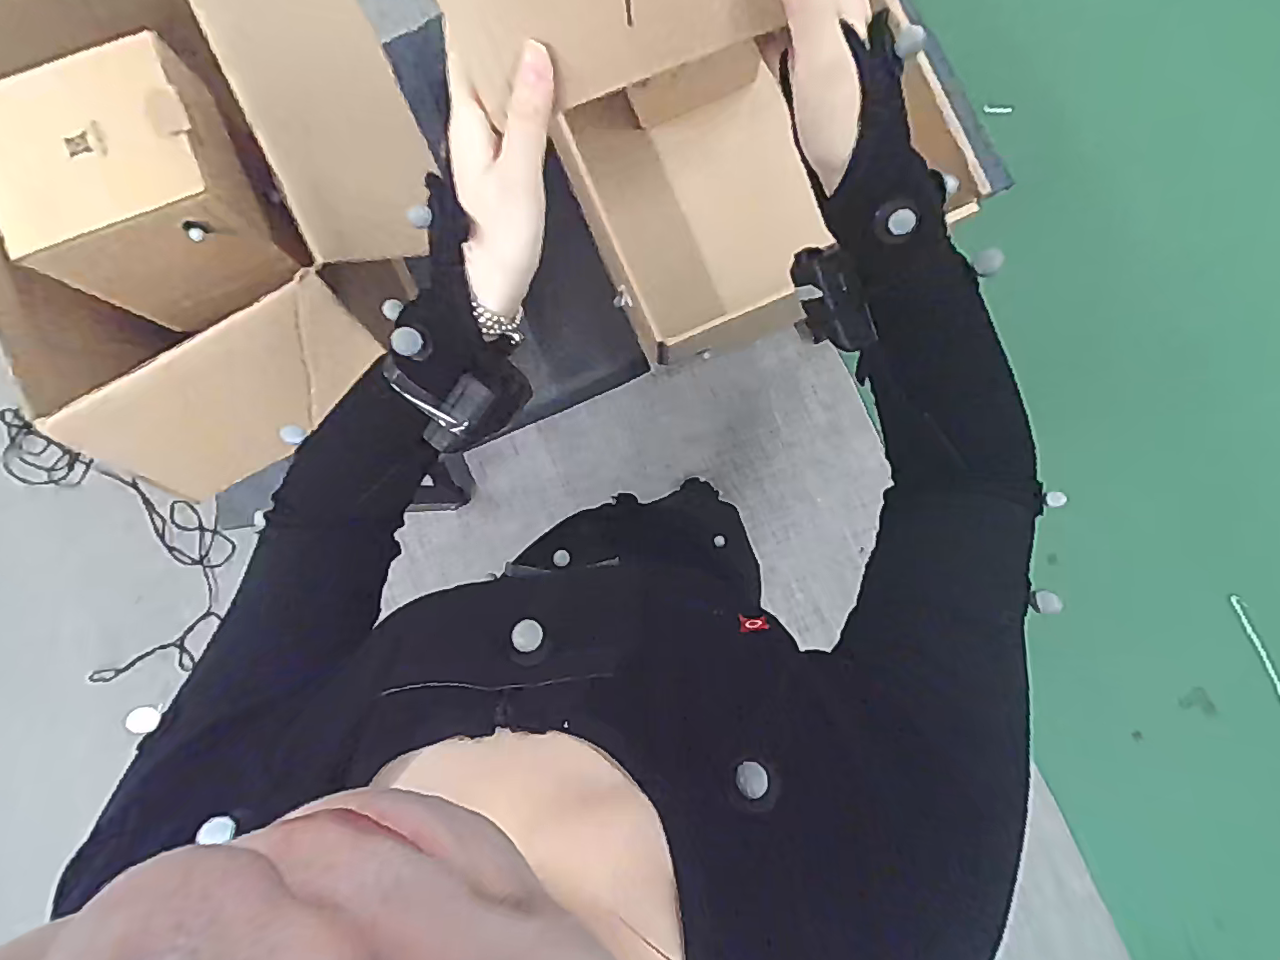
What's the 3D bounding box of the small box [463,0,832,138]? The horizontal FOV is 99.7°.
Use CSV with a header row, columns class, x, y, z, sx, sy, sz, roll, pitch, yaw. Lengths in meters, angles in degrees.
class,x,y,z,sx,sy,sz,roll,pitch,yaw
small box,-0.013,-0.310,0.274,0.168,0.176,0.179,-13,131,11
